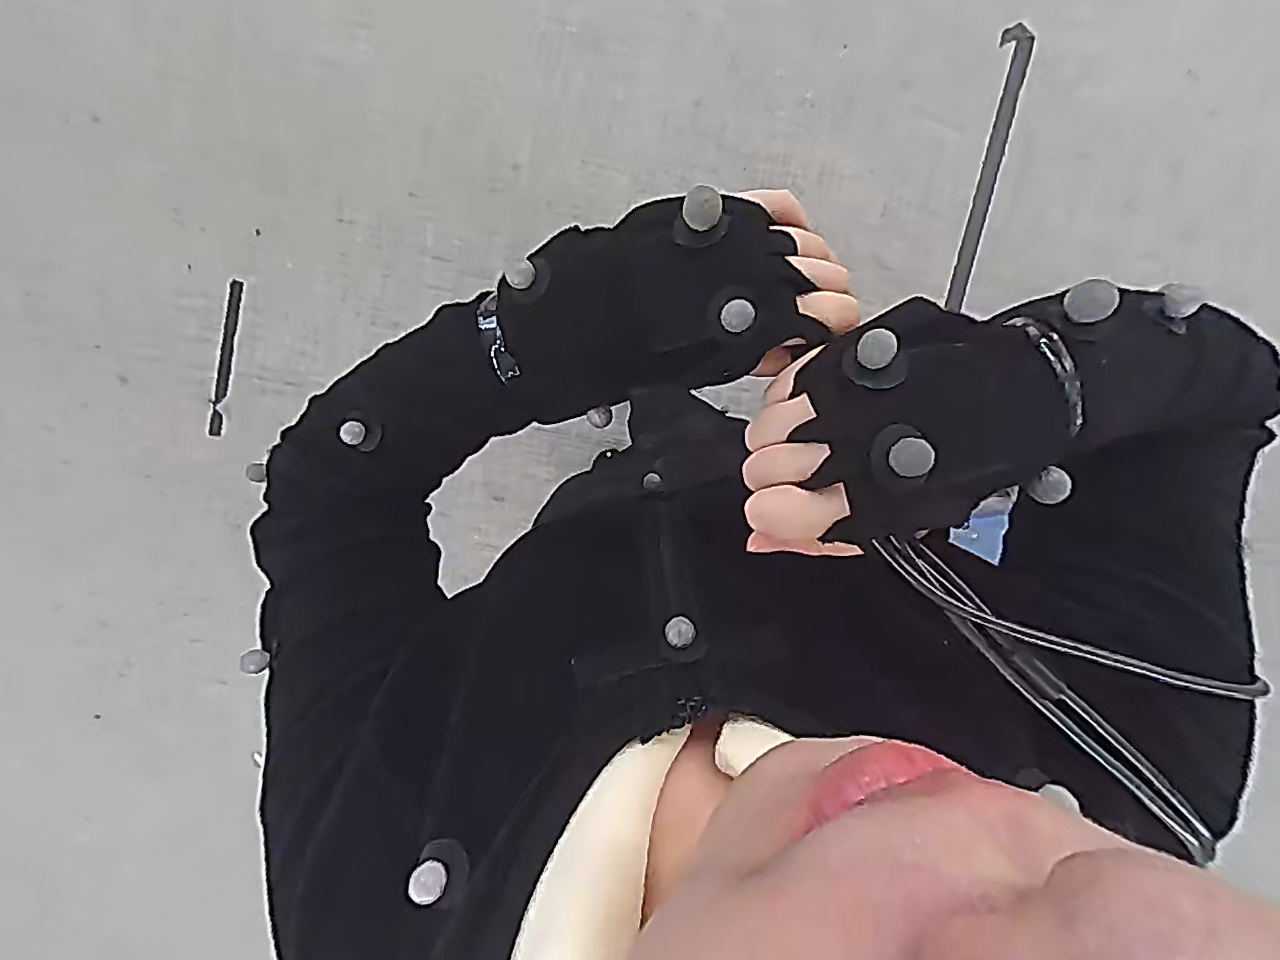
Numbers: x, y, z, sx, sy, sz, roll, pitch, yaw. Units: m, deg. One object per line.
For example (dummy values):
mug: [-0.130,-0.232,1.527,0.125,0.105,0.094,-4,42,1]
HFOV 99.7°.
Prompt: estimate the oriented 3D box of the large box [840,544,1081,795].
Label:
large box: [0.723,0.413,1.264,0.320,0.320,0.408,-19,99,-2]
